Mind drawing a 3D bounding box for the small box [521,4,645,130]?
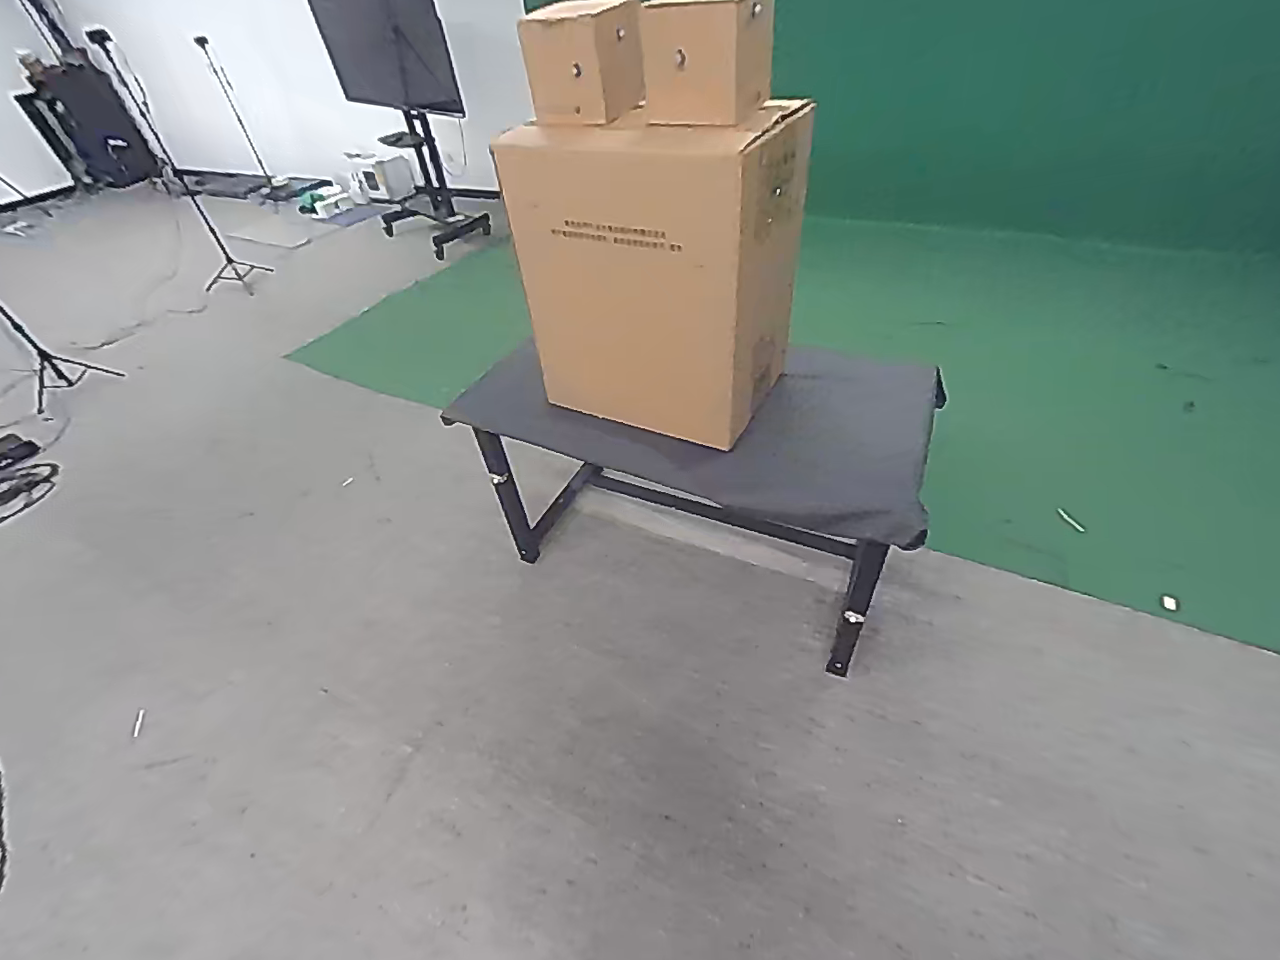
[{"bbox_3d":[-0.100,-0.805,1.059,0.168,0.176,0.179,18,51,22],"label":"small box"}]

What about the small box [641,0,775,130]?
[{"bbox_3d":[0.124,-0.736,0.954,0.179,0.176,0.168,18,52,25],"label":"small box"}]
